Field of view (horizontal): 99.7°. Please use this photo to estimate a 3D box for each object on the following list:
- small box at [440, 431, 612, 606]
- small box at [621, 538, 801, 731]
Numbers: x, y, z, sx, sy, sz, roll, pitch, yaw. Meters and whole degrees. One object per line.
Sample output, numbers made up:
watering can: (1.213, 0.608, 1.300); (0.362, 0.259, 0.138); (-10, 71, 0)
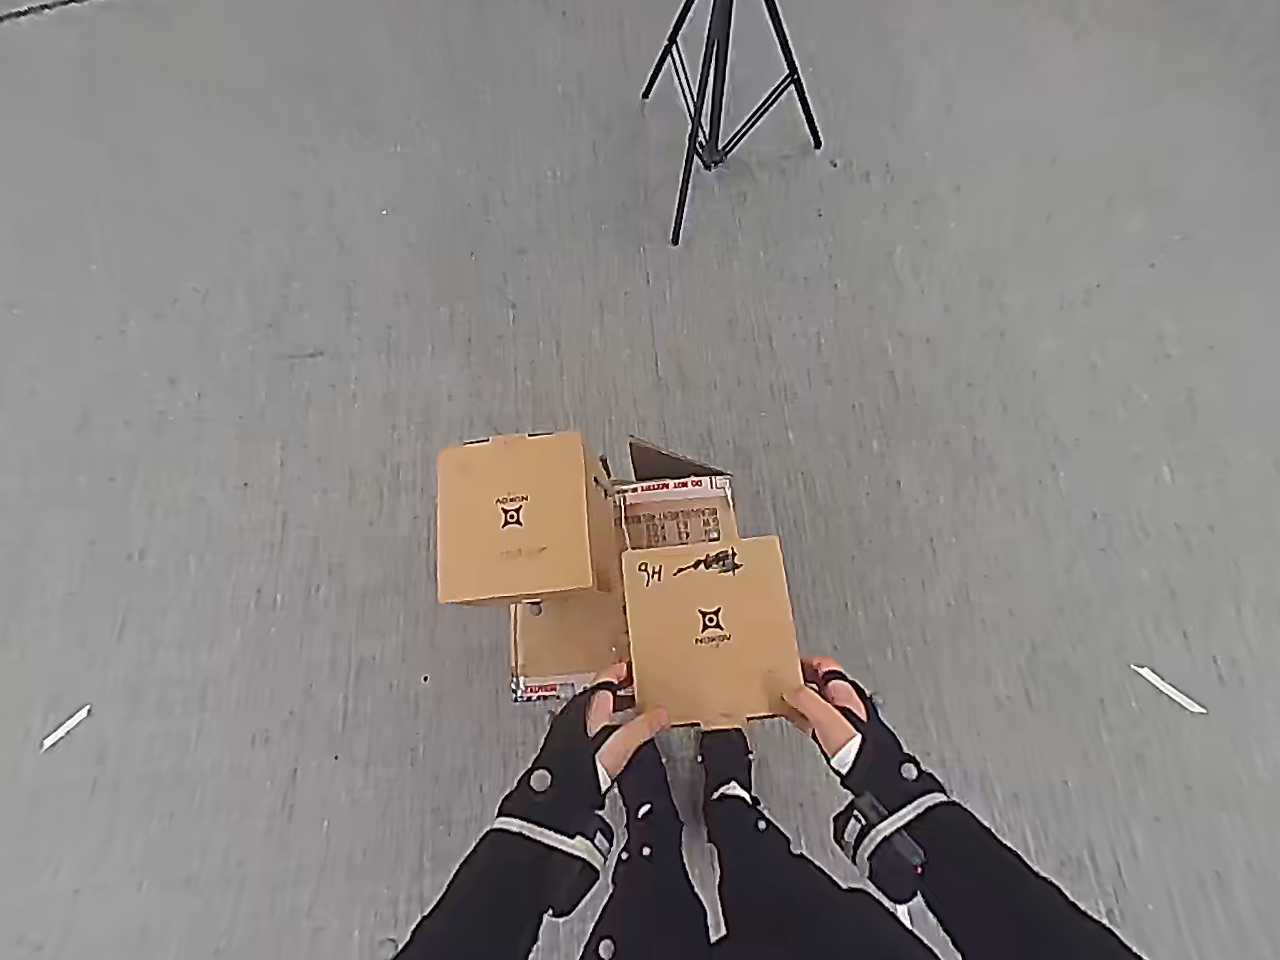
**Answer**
small box: (-0.129, 0.056, 0.657); (0.168, 0.176, 0.179); (-7, 76, 3)
small box: (0.071, 0.169, 0.616); (0.168, 0.176, 0.179); (-6, 75, 1)
